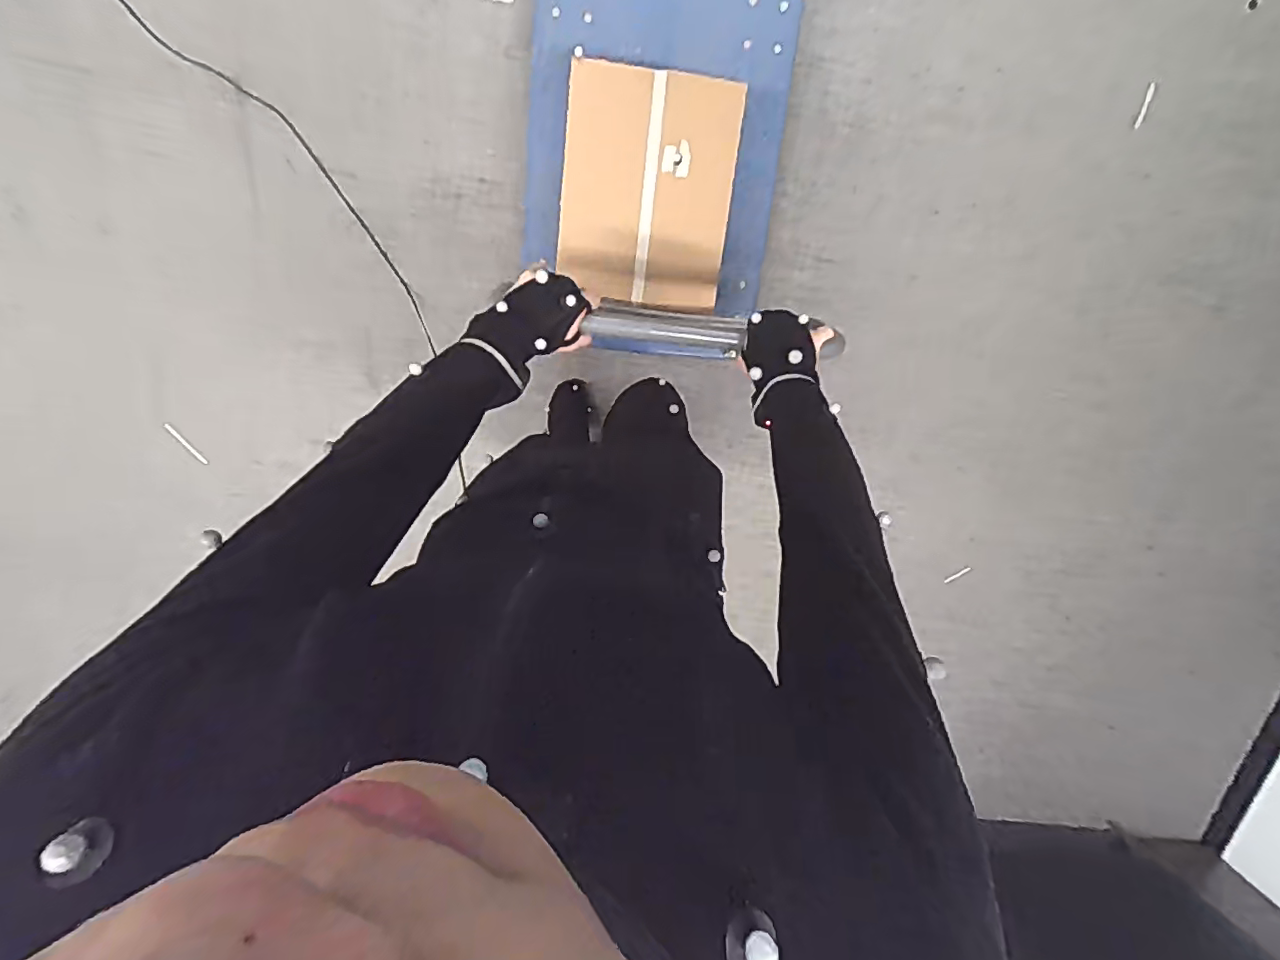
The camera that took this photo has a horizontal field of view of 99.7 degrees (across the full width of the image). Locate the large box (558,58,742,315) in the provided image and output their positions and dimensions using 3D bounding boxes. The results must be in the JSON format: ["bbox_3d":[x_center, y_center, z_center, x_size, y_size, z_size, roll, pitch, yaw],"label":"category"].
[{"bbox_3d":[0.006,-0.576,1.152,0.320,0.320,0.408,5,105,-6],"label":"large box"}]
